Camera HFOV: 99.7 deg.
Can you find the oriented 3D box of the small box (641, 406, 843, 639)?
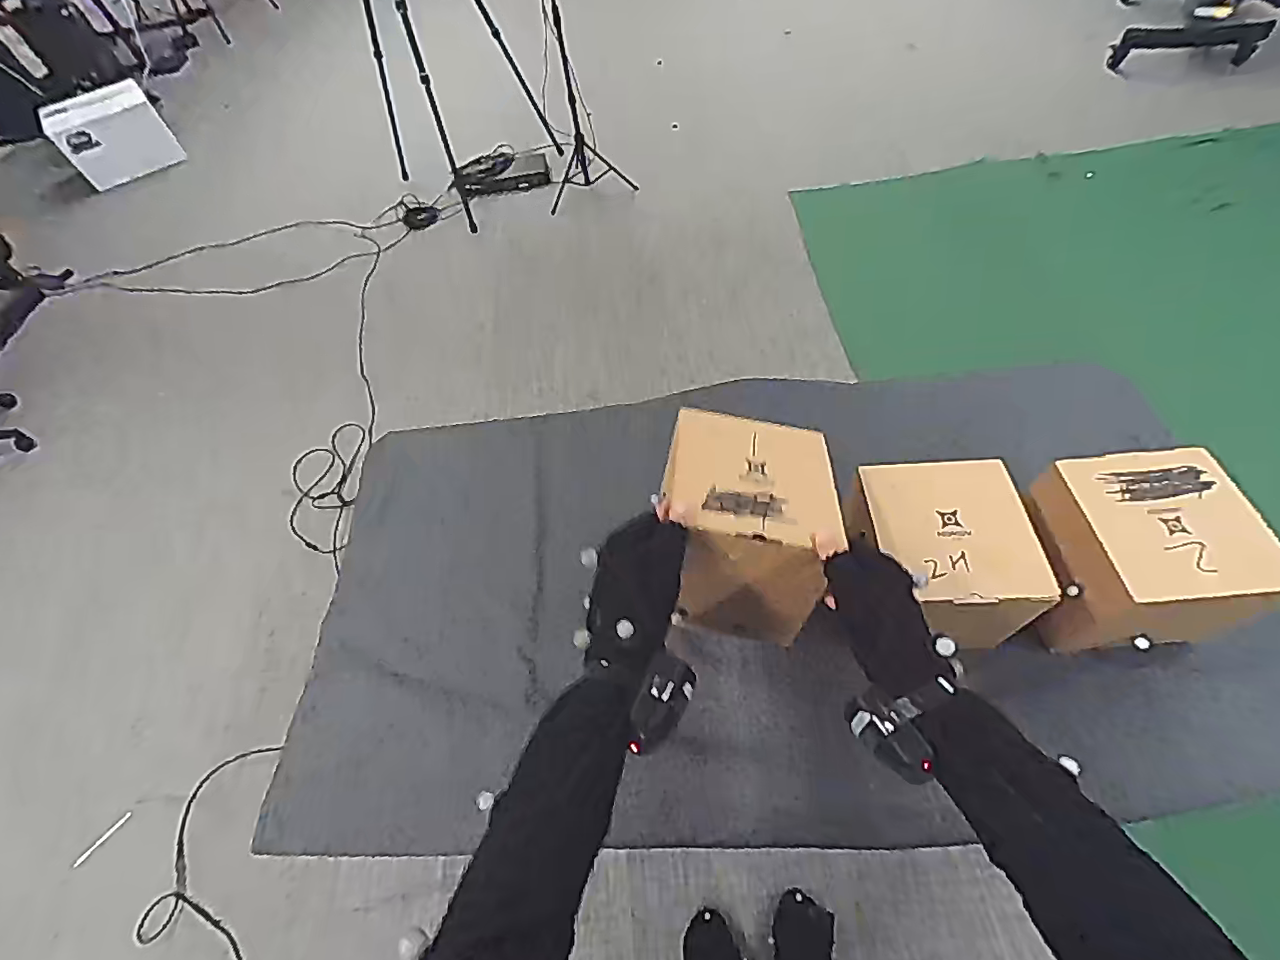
[{"bbox_3d":[0.099,0.048,0.590,0.168,0.176,0.179,11,43,-1],"label":"small box"}]
